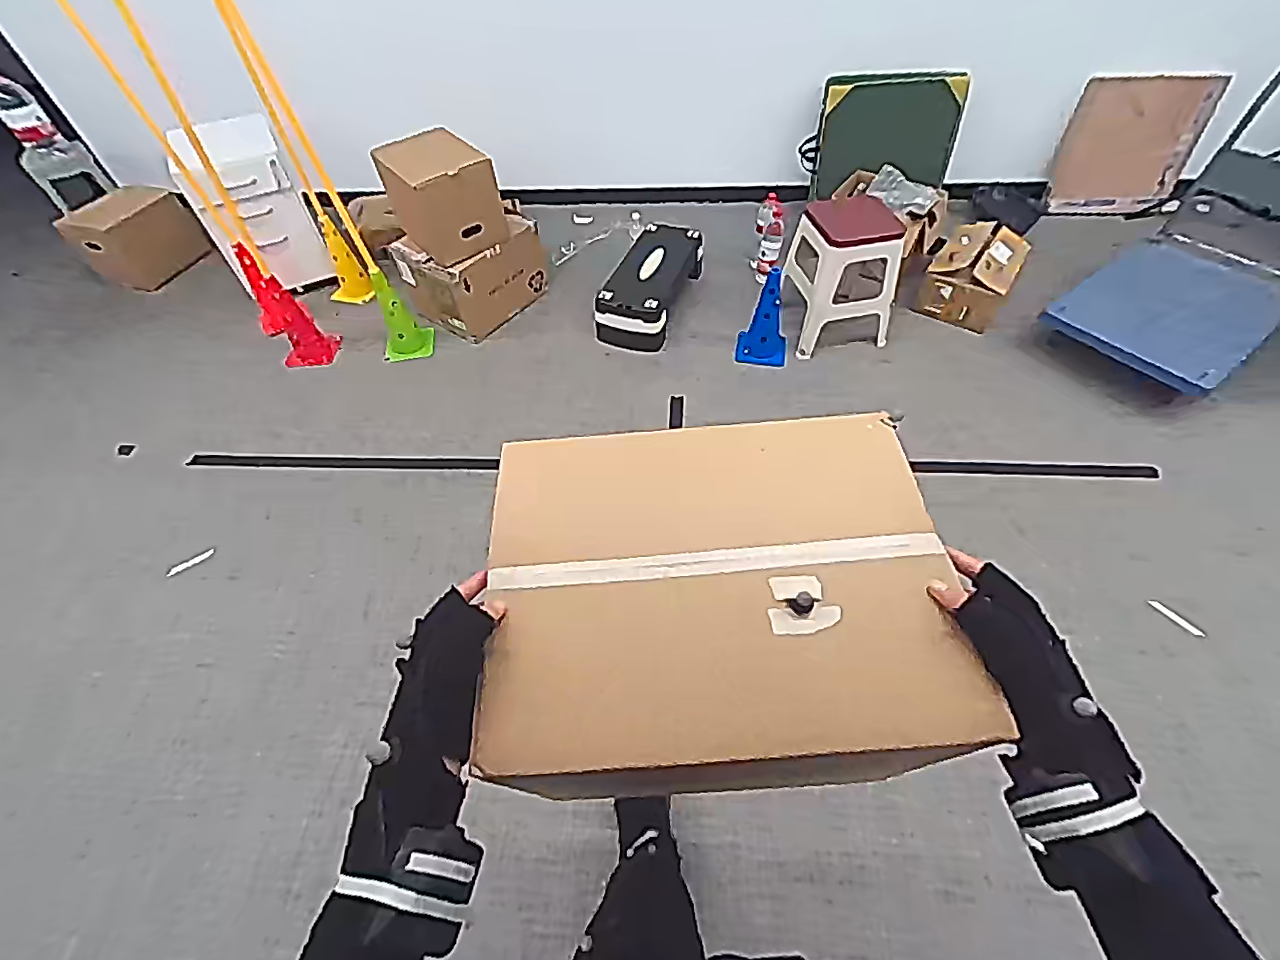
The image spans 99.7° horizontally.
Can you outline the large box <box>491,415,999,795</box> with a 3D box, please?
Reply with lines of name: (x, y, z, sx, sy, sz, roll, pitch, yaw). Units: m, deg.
large box: (0.076, 0.156, 0.619, 0.408, 0.320, 0.320, -4, 57, 0)
